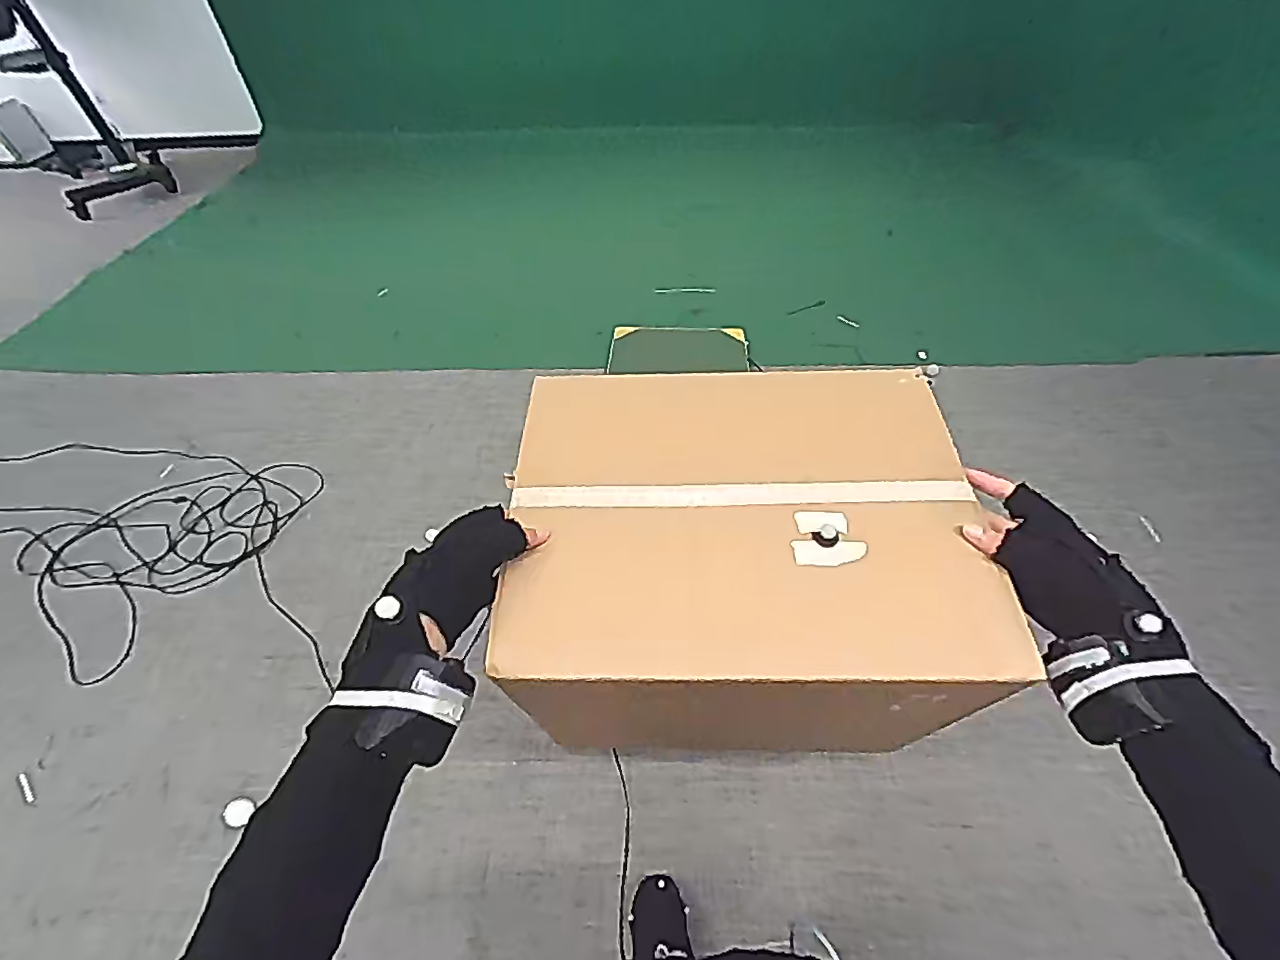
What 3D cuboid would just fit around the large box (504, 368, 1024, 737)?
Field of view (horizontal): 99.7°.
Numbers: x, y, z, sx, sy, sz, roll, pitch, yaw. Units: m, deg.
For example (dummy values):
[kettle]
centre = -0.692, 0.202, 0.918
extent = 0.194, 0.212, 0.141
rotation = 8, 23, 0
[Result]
[large box]
centre = 0.094, 0.095, 0.614
extent = 0.408, 0.320, 0.320
rotation = -1, 56, 2
